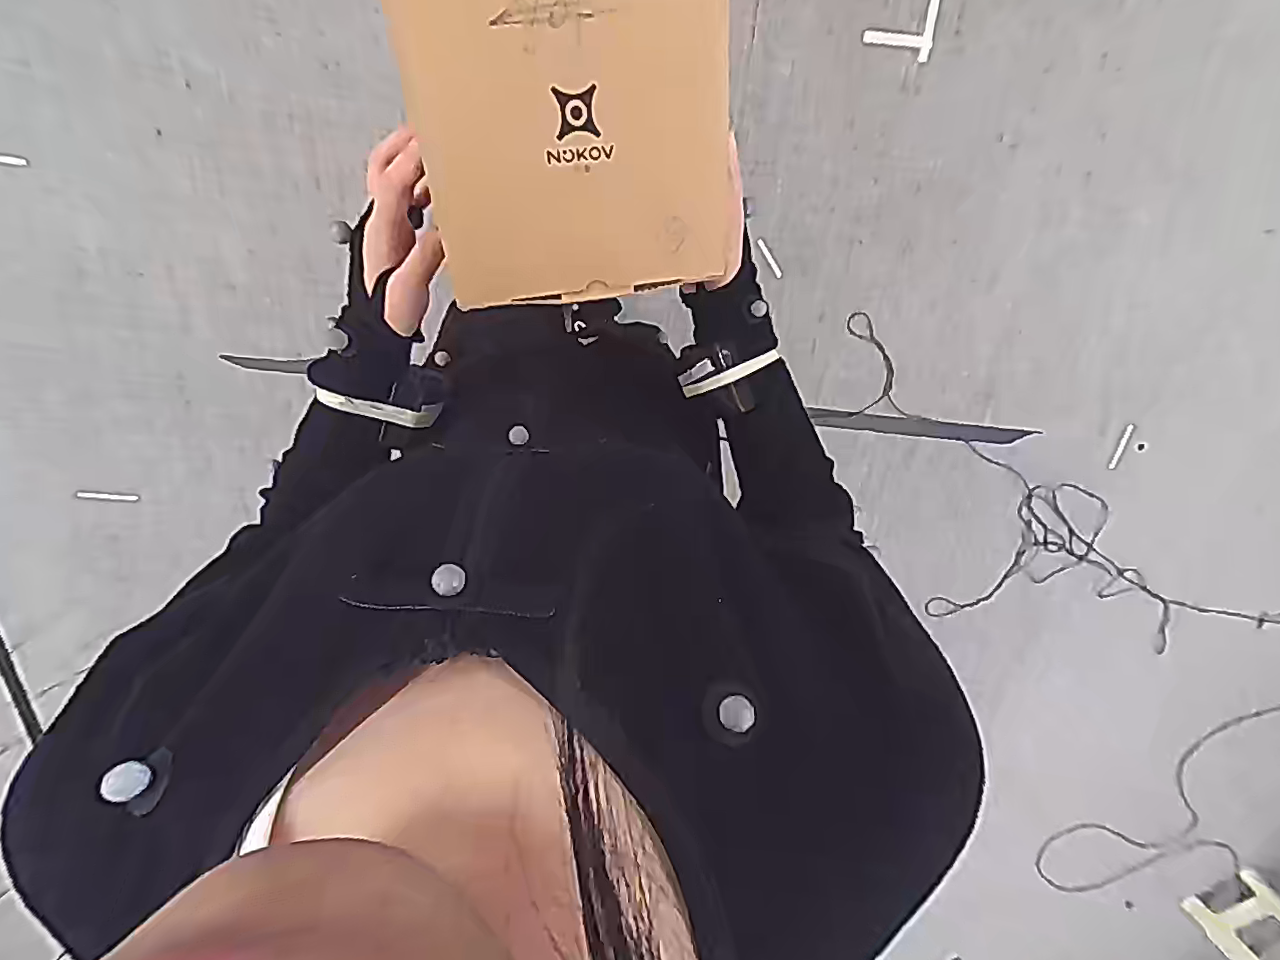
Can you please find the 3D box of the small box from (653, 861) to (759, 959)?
[{"bbox_3d":[0.118,0.878,1.054,0.168,0.176,0.179,3,113,-5],"label":"small box"}]

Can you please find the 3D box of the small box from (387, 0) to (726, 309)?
[{"bbox_3d":[-0.048,-0.227,0.355,0.168,0.176,0.179,-11,120,-8],"label":"small box"}]

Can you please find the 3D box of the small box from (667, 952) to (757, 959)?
[{"bbox_3d":[0.127,0.921,0.894,0.168,0.176,0.179,-1,113,-3],"label":"small box"}]
